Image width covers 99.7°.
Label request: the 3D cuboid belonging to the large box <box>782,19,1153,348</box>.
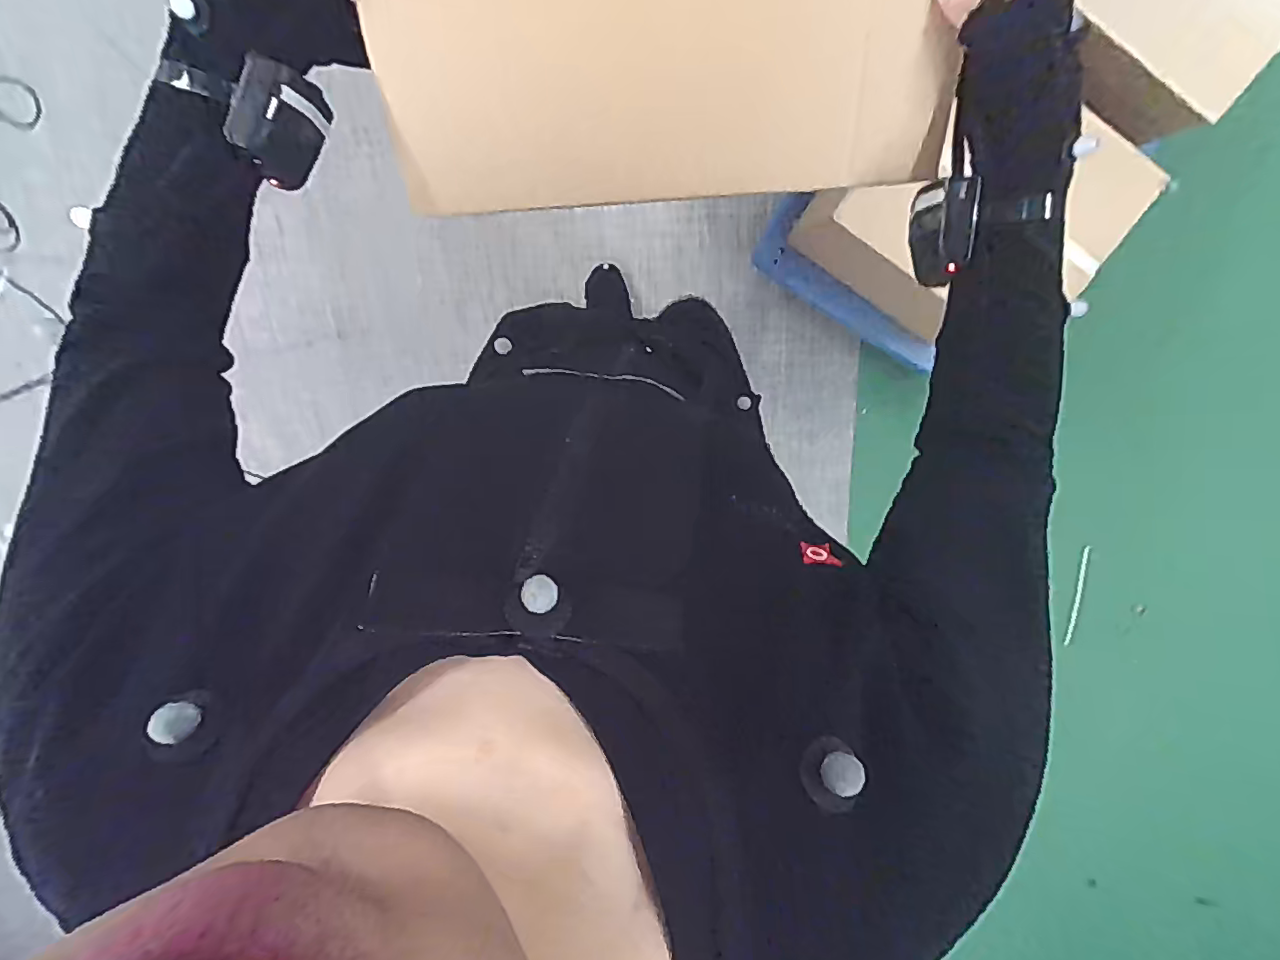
[{"bbox_3d":[0.536,-0.480,0.974,0.408,0.320,0.320,31,105,-9],"label":"large box"}]
